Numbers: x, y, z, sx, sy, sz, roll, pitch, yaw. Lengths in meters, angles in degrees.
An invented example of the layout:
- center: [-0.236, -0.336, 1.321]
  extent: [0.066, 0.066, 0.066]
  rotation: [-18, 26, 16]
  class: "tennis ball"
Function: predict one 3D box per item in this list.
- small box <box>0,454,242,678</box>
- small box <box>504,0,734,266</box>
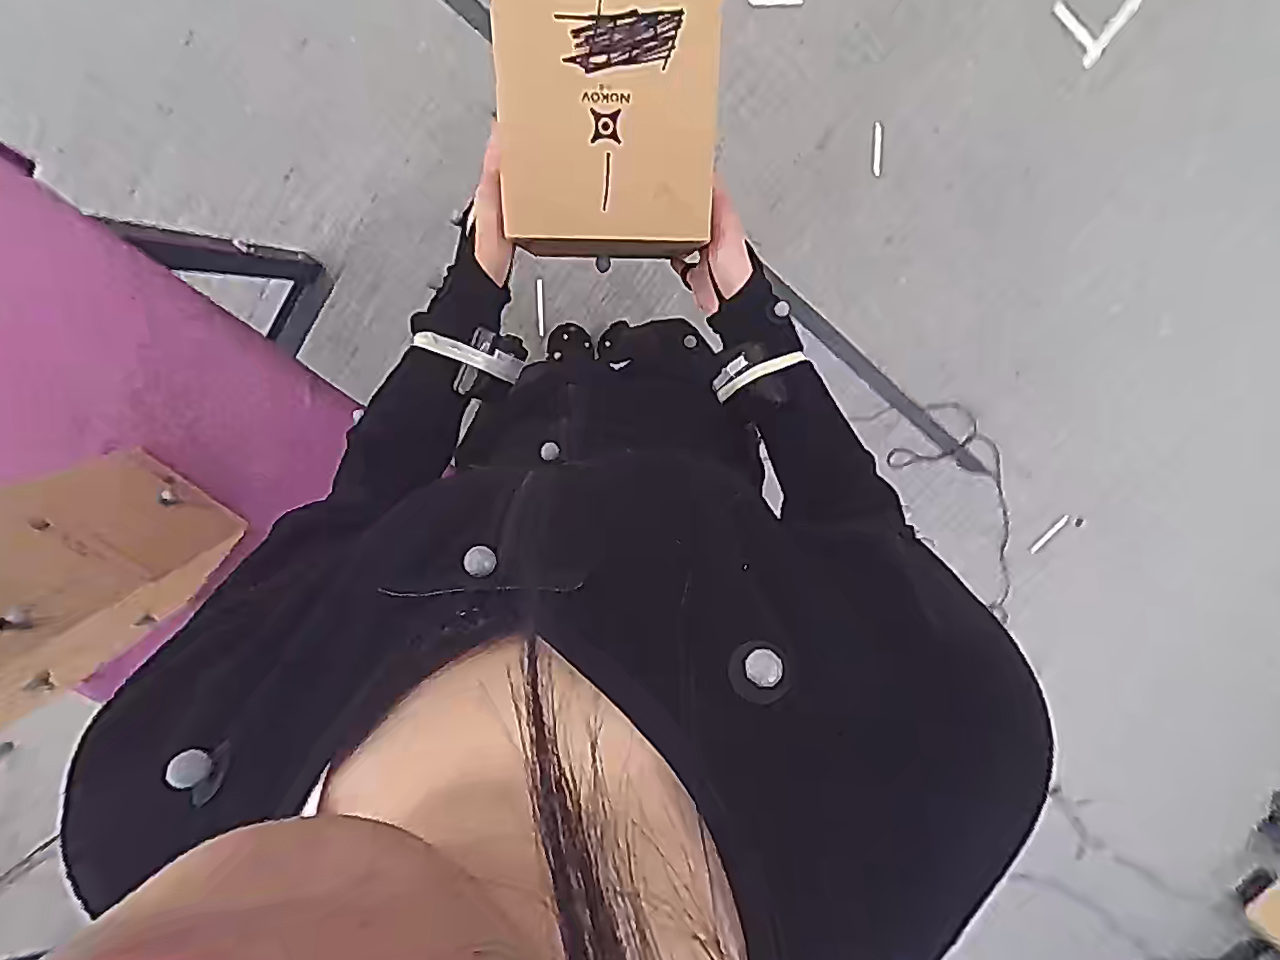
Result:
- center: [-0.650, 0.096, 0.668]
  extent: [0.168, 0.176, 0.179]
  rotation: [41, 101, -15]
  class: "small box"
- center: [-0.022, -0.293, 0.478]
  extent: [0.168, 0.176, 0.179]
  rotation: [1, 108, -3]
  class: "small box"
